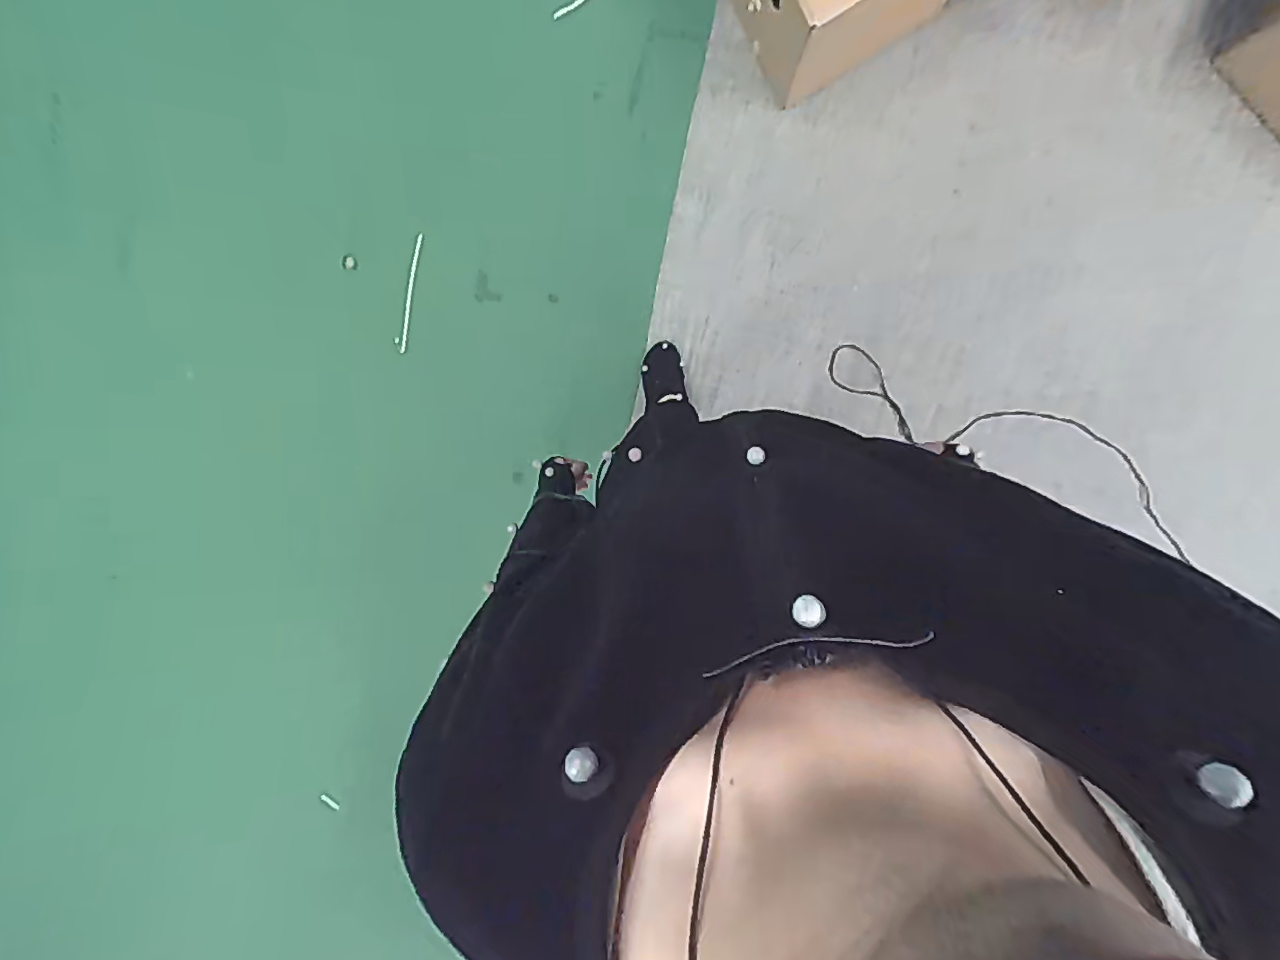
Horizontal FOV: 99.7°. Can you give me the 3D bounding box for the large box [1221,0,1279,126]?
[{"bbox_3d":[1.581,-0.933,1.103,0.408,0.320,0.320,42,99,-5],"label":"large box"}]
